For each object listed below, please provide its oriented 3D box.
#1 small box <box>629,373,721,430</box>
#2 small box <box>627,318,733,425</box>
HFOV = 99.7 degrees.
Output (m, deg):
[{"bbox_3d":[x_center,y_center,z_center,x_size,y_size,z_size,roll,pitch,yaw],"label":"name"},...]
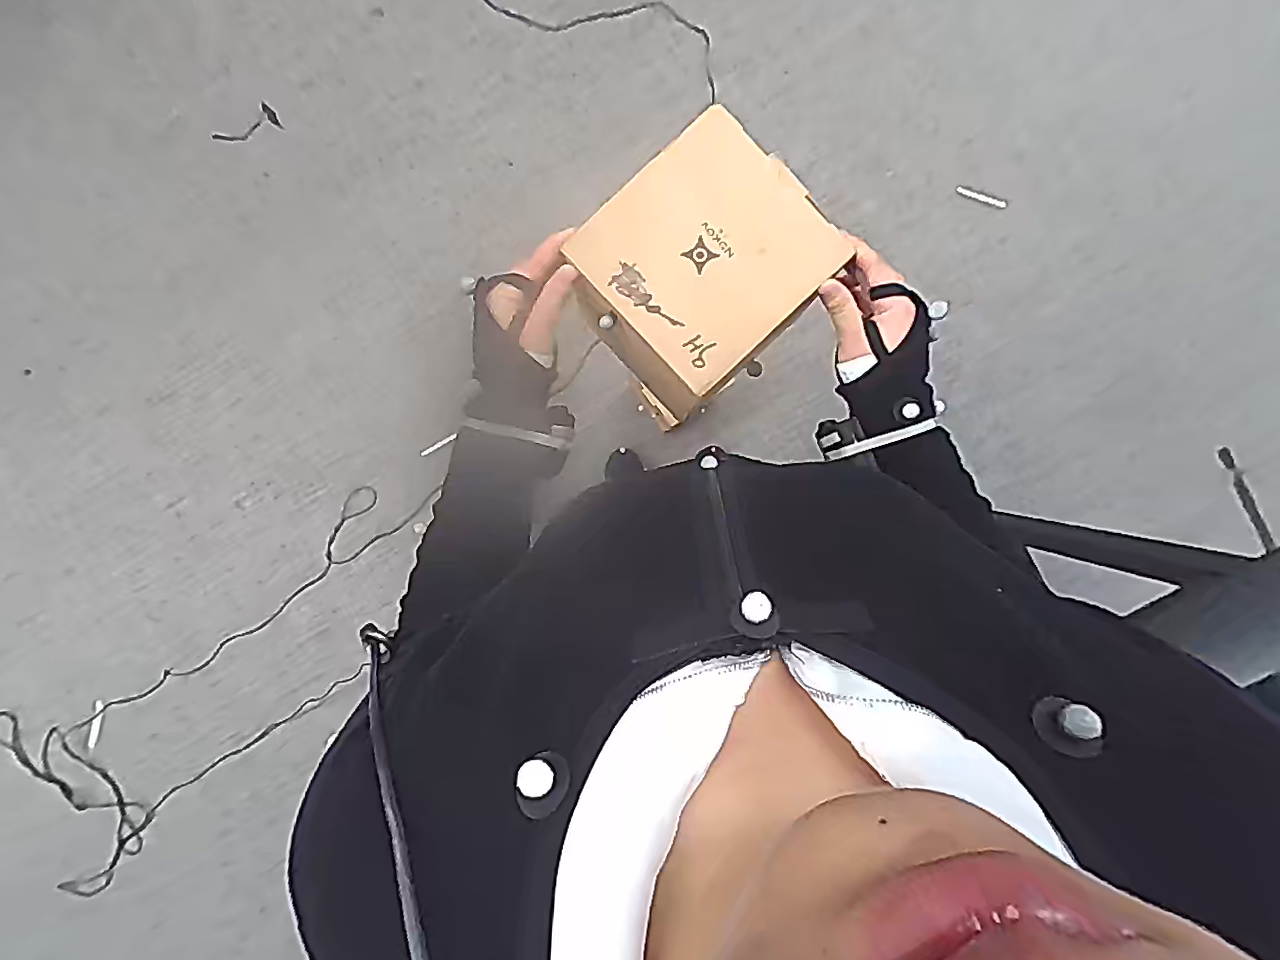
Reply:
[{"bbox_3d":[0.086,-0.244,1.415,0.179,0.176,0.168,-33,92,3],"label":"small box"},{"bbox_3d":[0.088,-0.241,1.253,0.179,0.176,0.168,-37,93,1],"label":"small box"}]
